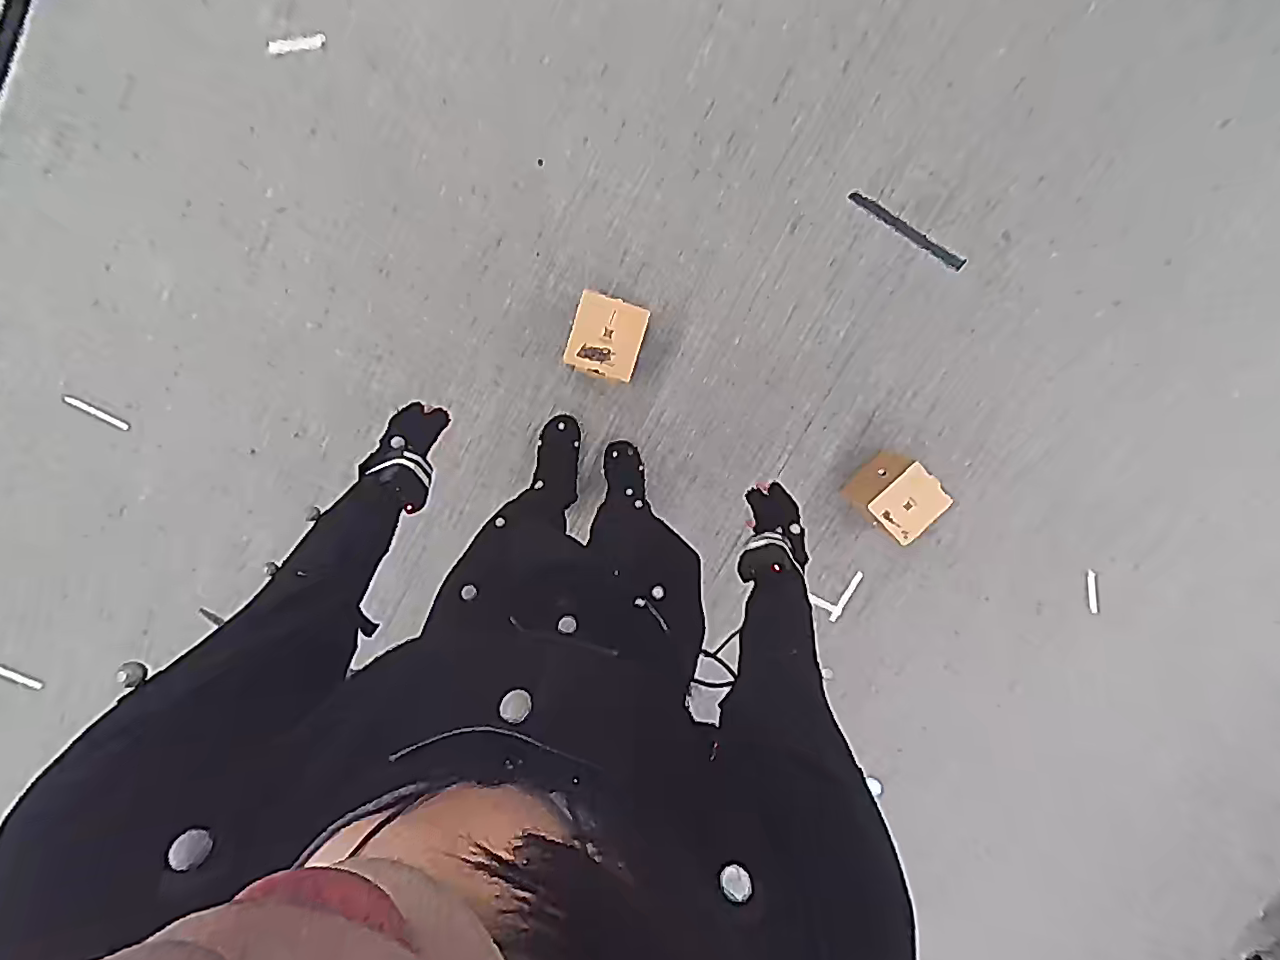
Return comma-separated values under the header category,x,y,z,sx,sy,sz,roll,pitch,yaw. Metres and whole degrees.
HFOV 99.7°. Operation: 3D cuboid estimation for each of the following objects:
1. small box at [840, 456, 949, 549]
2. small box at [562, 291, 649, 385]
category,x,y,z,sx,sy,sz,roll,pitch,yaw
small box,0.690,0.054,1.486,0.179,0.176,0.168,-45,102,5
small box,-0.086,-0.345,1.339,0.168,0.176,0.179,17,99,-8
